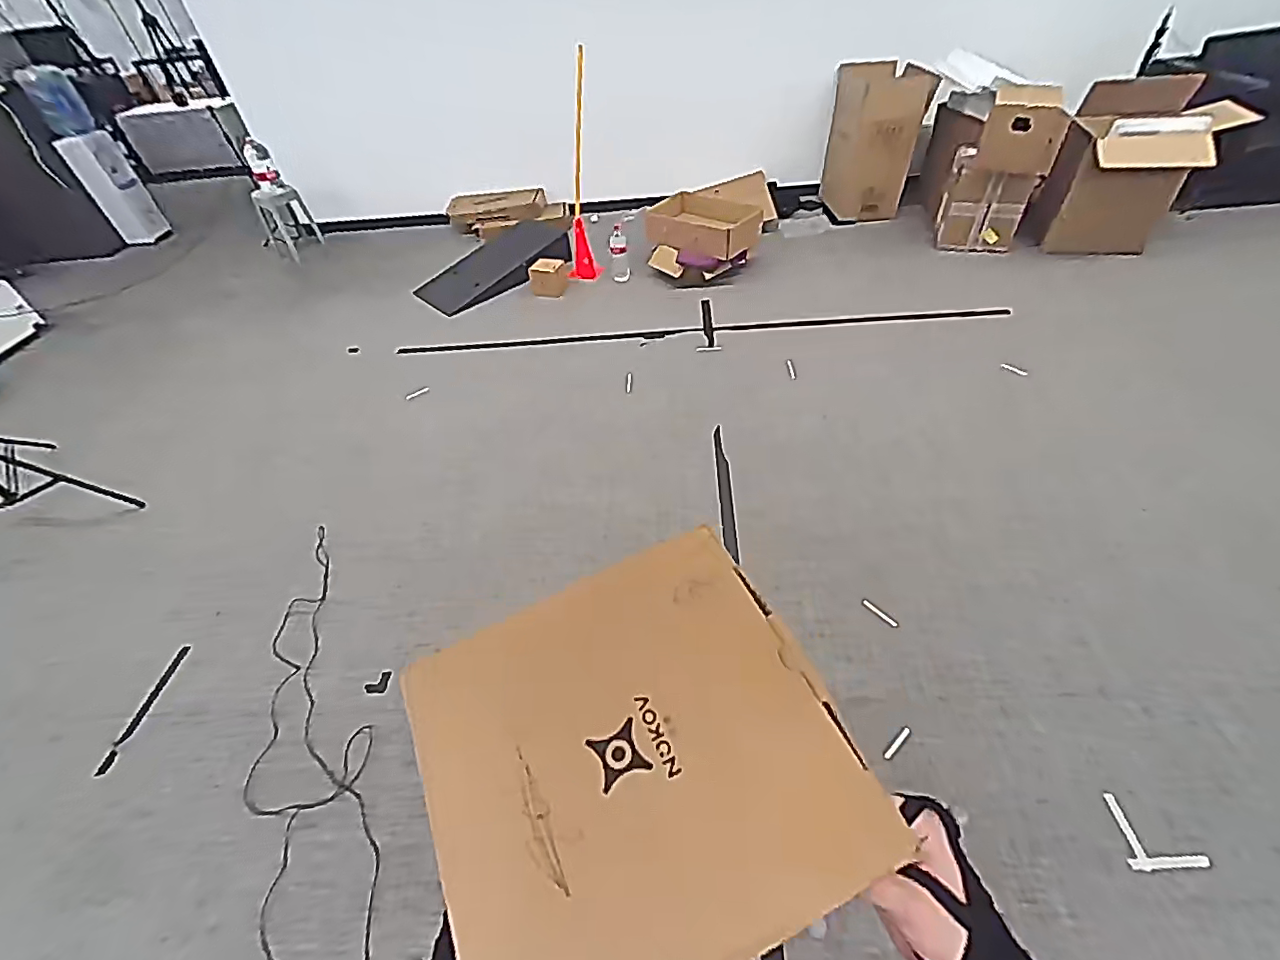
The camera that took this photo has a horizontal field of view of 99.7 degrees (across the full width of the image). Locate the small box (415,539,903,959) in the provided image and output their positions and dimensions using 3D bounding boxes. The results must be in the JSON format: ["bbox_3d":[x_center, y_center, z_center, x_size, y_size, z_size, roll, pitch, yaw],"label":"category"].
[{"bbox_3d":[0.006,0.169,0.311,0.179,0.176,0.168,-26,55,-8],"label":"small box"}]
